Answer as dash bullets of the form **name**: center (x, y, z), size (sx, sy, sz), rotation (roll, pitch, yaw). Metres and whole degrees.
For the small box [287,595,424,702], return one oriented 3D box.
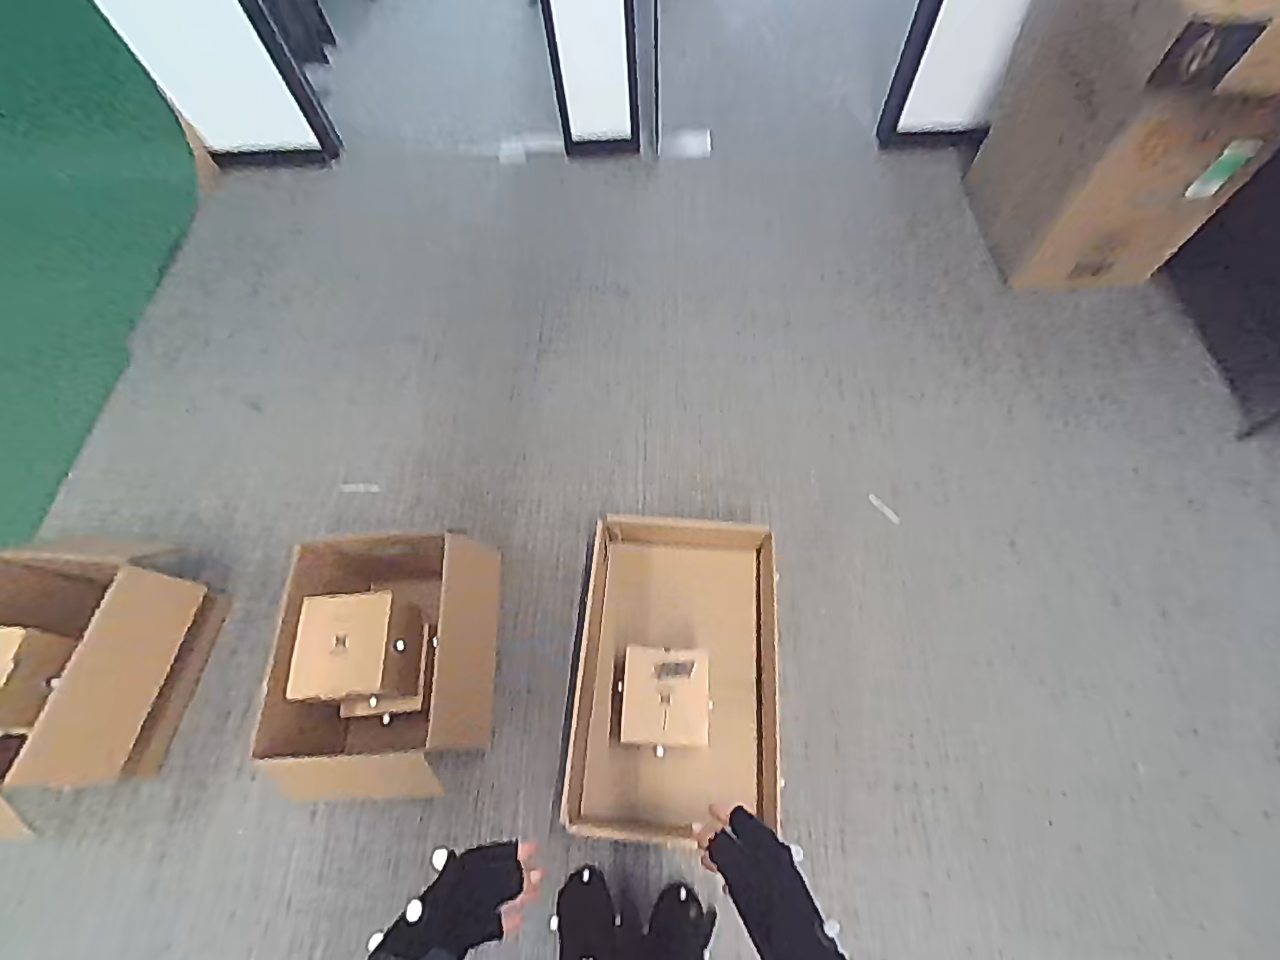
- **small box**: center (-0.532, 0.329, 1.039), size (0.168, 0.176, 0.179), rotation (-4, 65, 0)

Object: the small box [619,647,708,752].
- **small box**: center (0.049, 0.451, 1.104), size (0.168, 0.176, 0.179), rotation (3, 63, 3)
